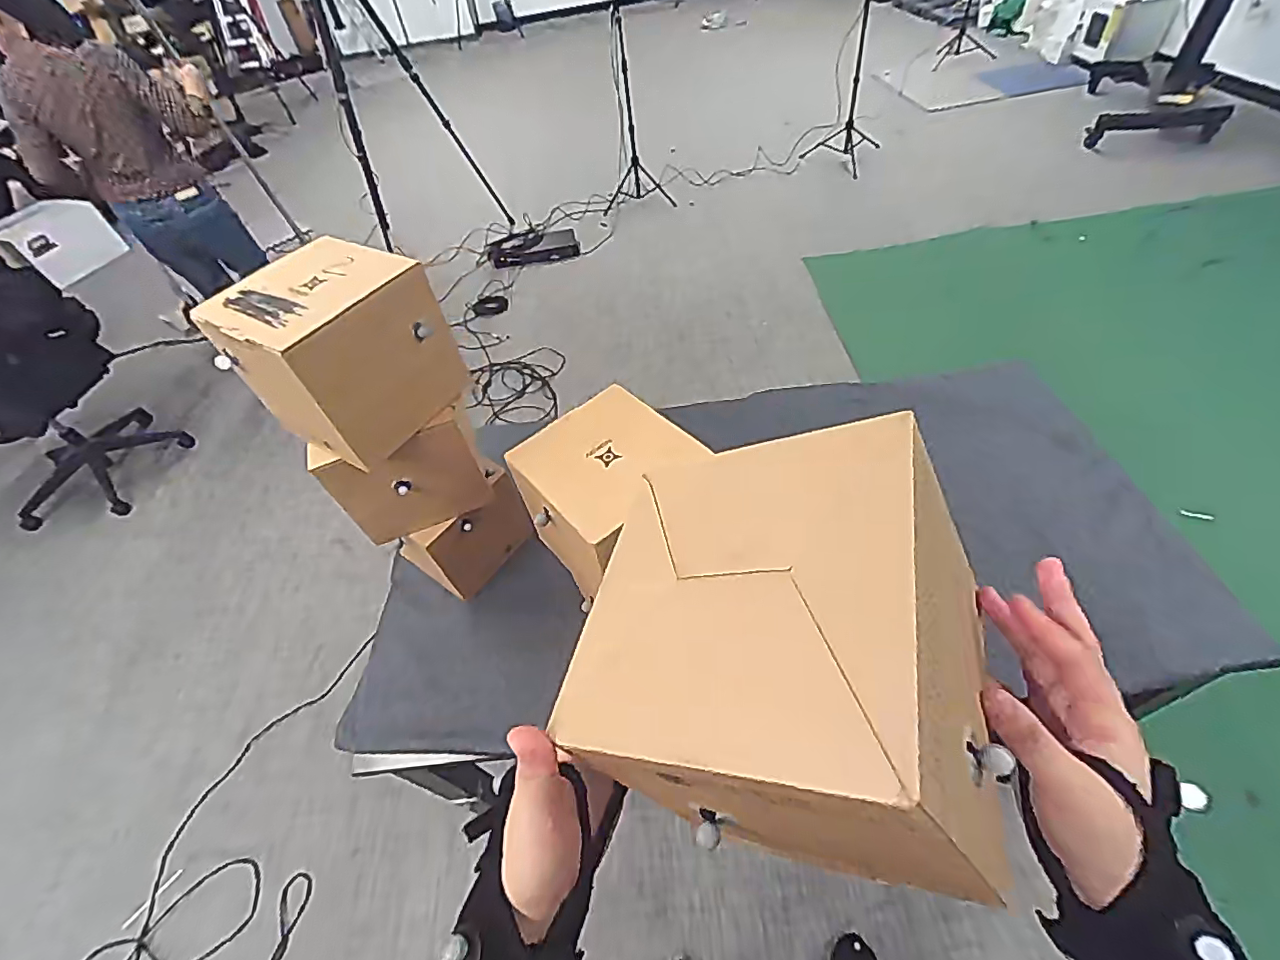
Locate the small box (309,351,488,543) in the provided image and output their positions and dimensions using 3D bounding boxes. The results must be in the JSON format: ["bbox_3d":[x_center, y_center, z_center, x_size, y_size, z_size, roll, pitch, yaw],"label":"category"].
[{"bbox_3d":[-0.325,-0.044,0.752,0.179,0.176,0.168,-22,51,-9],"label":"small box"}]

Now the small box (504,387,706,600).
[{"bbox_3d":[-0.028,0.027,0.648,0.168,0.176,0.179,-36,53,-20],"label":"small box"}]

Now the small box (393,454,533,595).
[{"bbox_3d":[-0.306,0.058,0.881,0.179,0.176,0.168,26,59,27],"label":"small box"}]

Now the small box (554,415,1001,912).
[{"bbox_3d":[0.082,0.094,0.299,0.168,0.176,0.179,-10,45,37],"label":"small box"}]
